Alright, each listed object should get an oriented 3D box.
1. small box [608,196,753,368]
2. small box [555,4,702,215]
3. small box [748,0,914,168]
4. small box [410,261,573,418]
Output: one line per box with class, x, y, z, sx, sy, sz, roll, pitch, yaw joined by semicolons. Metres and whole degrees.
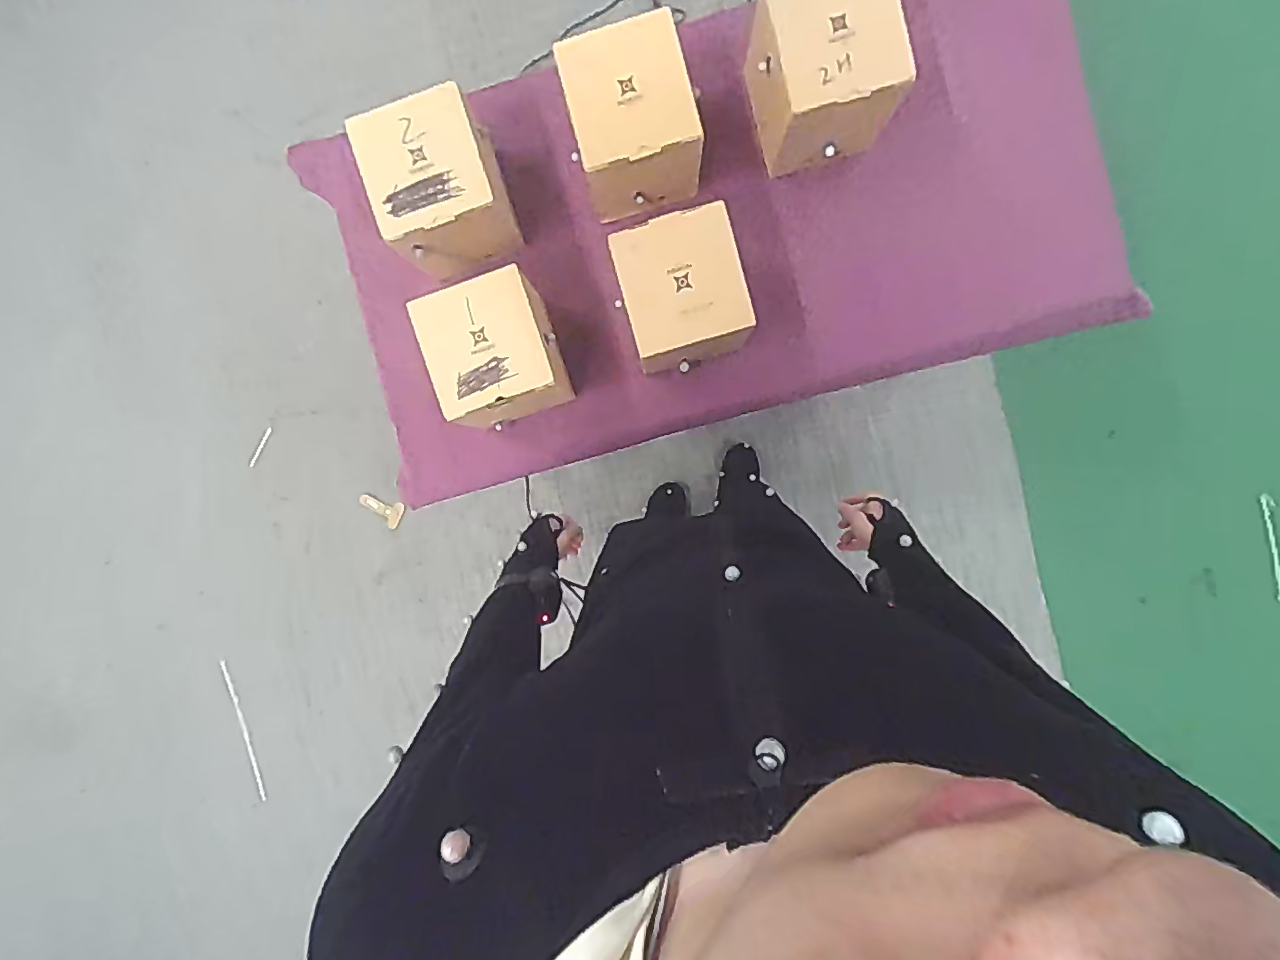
small box;0.058;-0.283;0.812;0.168;0.176;0.179;-15;92;5
small box;-0.013;-0.533;0.803;0.168;0.176;0.179;-16;93;4
small box;0.261;-0.595;0.779;0.168;0.176;0.179;-14;93;5
small box;-0.214;-0.200;0.830;0.168;0.176;0.179;-18;90;4
